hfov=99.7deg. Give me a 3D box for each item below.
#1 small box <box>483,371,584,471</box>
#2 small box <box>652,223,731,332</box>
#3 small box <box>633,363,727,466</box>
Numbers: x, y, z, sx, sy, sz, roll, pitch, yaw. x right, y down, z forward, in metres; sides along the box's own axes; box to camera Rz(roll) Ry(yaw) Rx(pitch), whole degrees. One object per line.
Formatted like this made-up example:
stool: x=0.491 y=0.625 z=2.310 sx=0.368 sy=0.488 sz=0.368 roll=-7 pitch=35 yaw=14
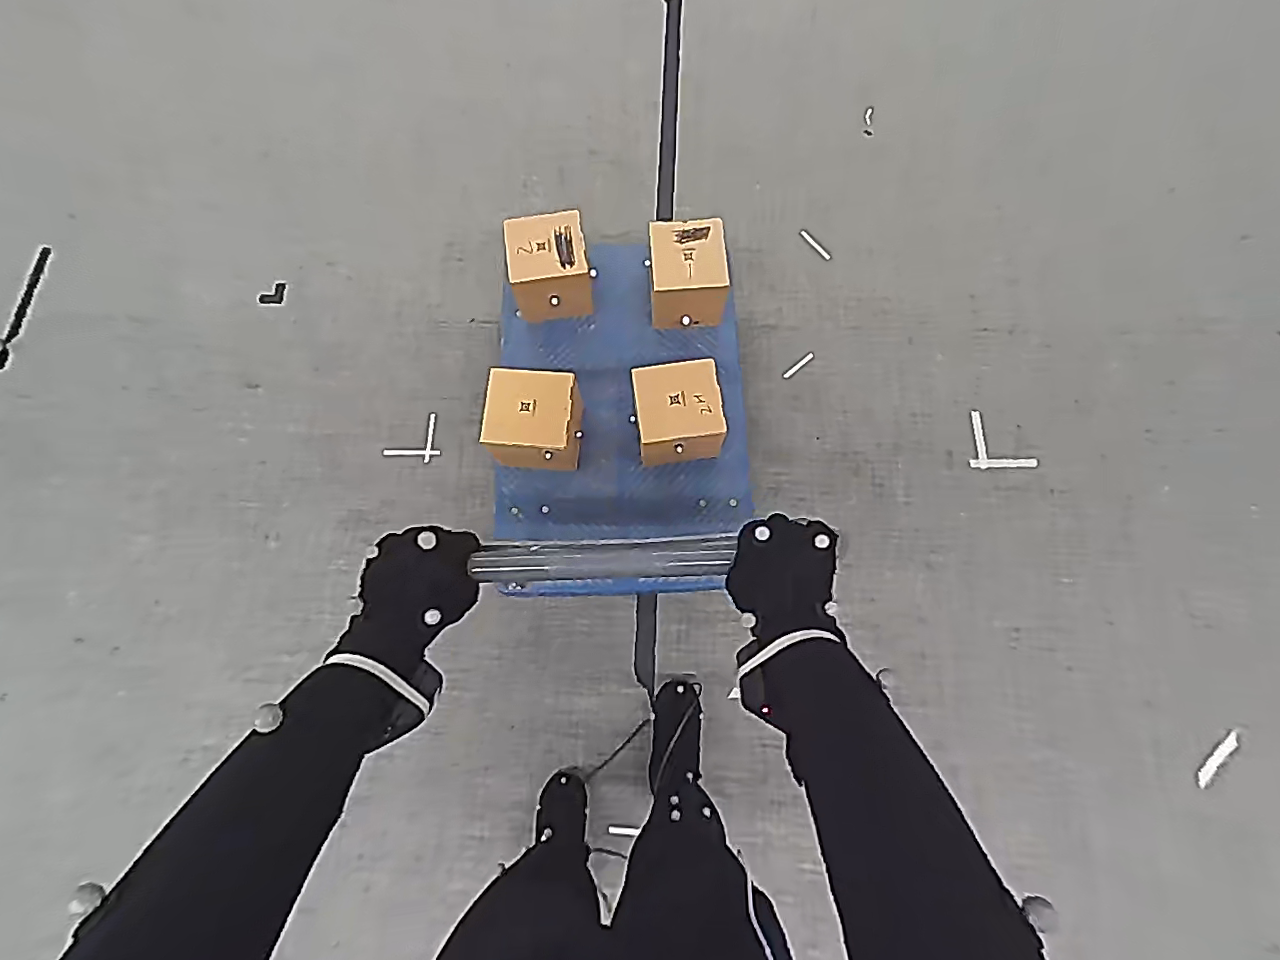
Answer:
small box: x=-0.223 y=-0.123 z=1.183 sx=0.179 sy=0.176 sz=0.168 roll=4 pitch=75 yaw=1
small box: x=0.113 y=-0.468 z=1.266 sx=0.168 sy=0.176 sz=0.179 roll=-3 pitch=76 yaw=0
small box: x=0.083 y=-0.135 z=1.180 sx=0.179 sy=0.176 sz=0.168 roll=-7 pitch=76 yaw=-1
